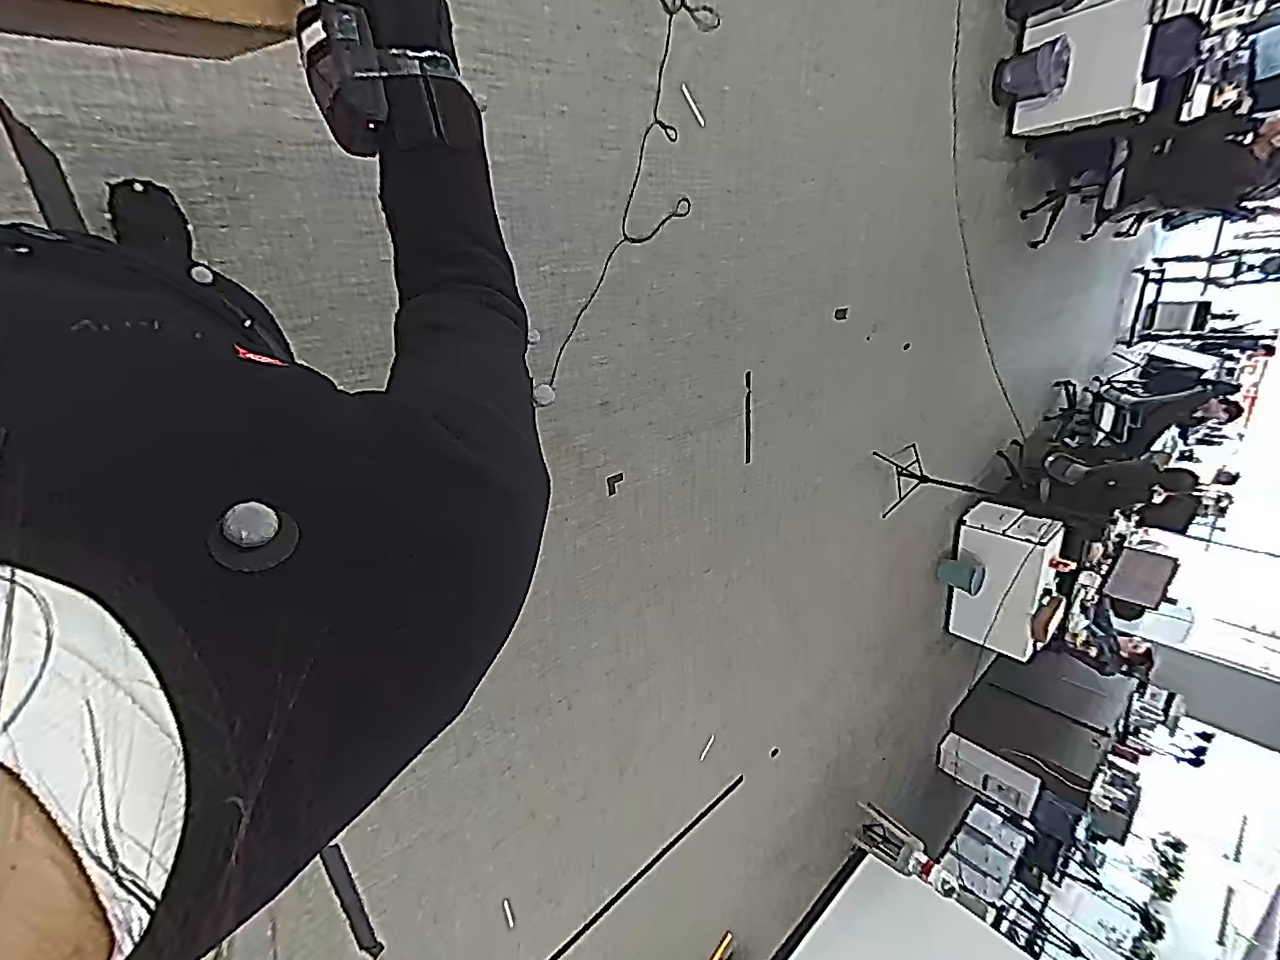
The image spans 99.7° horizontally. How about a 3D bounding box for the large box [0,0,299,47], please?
[{"bbox_3d":[-0.451,-0.421,0.239,0.408,0.320,0.320,-22,131,-35],"label":"large box"}]
